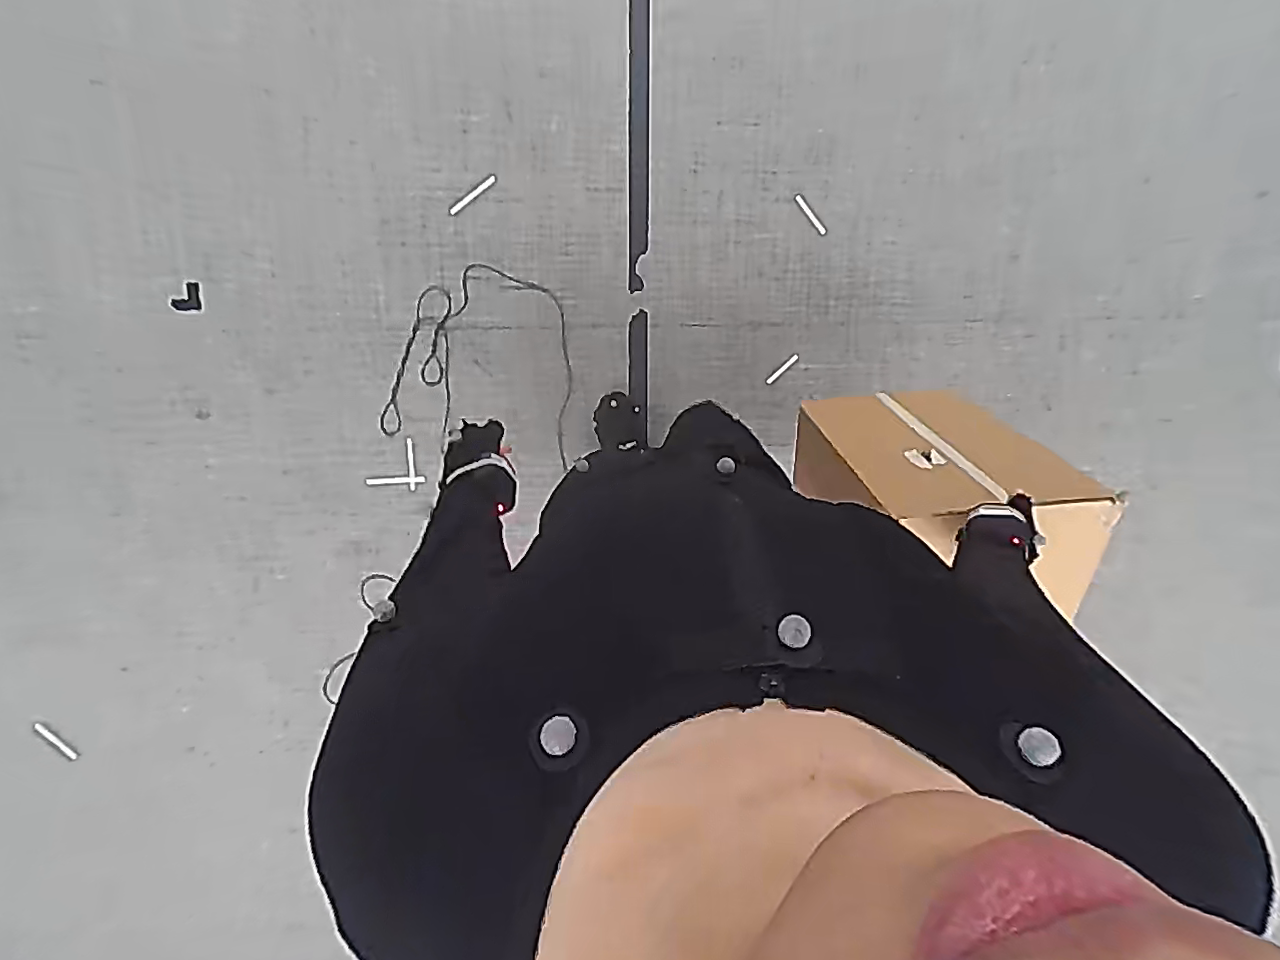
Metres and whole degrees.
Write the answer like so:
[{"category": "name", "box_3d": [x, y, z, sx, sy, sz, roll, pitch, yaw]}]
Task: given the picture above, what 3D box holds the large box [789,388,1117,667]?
[{"category": "large box", "box_3d": [0.487, 0.063, 0.969, 0.320, 0.408, 0.320, -6, 123, -1]}]
